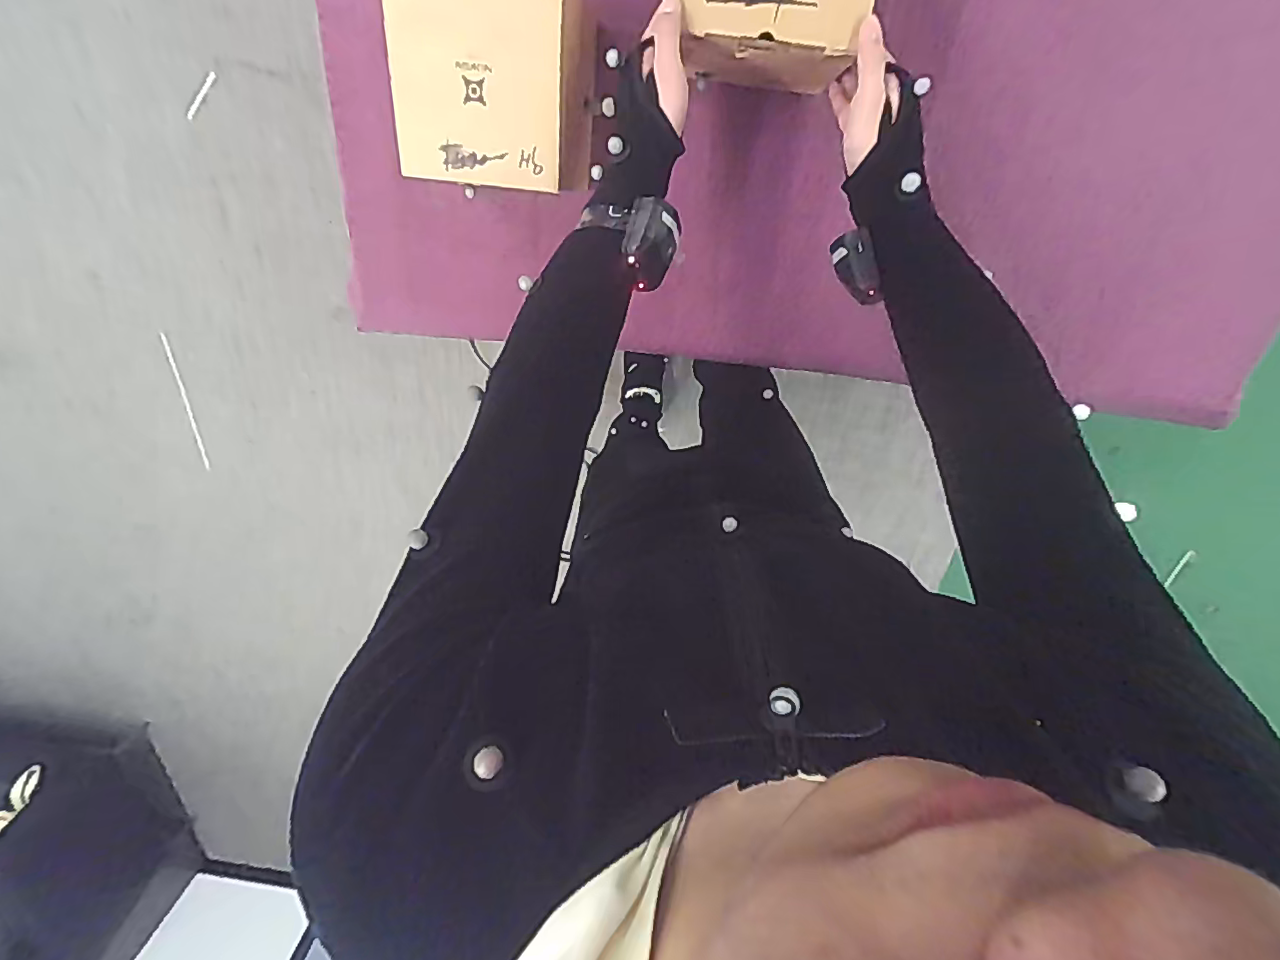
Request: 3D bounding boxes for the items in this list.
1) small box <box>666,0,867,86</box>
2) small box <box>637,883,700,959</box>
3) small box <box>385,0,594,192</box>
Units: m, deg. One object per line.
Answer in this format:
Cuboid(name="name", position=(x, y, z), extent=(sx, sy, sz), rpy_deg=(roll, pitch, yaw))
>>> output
Cuboid(name="small box", position=(0.120, -0.485, 0.491), extent=(0.168, 0.176, 0.179), rpy_deg=(8, 115, 1))
Cuboid(name="small box", position=(0.091, 1.395, 1.674), extent=(0.168, 0.176, 0.179), rpy_deg=(11, 119, 0))
Cuboid(name="small box", position=(-0.147, -0.416, 0.576), extent=(0.168, 0.176, 0.179), rpy_deg=(9, 118, 3))
